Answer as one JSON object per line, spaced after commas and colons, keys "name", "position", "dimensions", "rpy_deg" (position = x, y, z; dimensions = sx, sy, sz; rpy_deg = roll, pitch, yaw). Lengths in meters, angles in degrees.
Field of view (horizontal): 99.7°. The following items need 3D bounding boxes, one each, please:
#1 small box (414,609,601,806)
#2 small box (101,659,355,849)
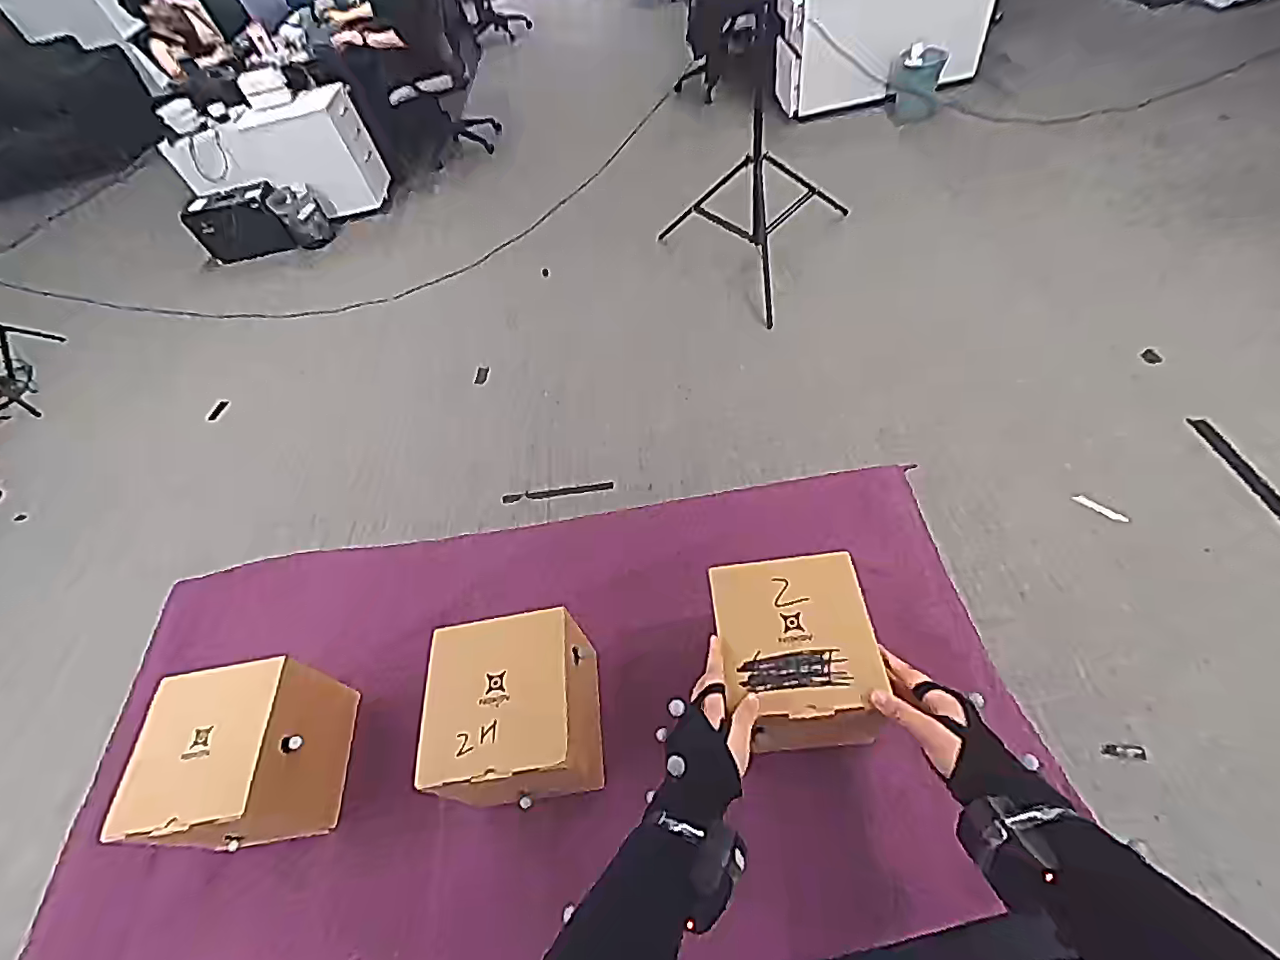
{"name": "small box", "position": [-0.148, 0.283, 0.665], "dimensions": [0.168, 0.176, 0.179], "rpy_deg": [-11, 53, 4]}
{"name": "small box", "position": [-0.495, 0.351, 0.687], "dimensions": [0.168, 0.176, 0.179], "rpy_deg": [-11, 54, 3]}
